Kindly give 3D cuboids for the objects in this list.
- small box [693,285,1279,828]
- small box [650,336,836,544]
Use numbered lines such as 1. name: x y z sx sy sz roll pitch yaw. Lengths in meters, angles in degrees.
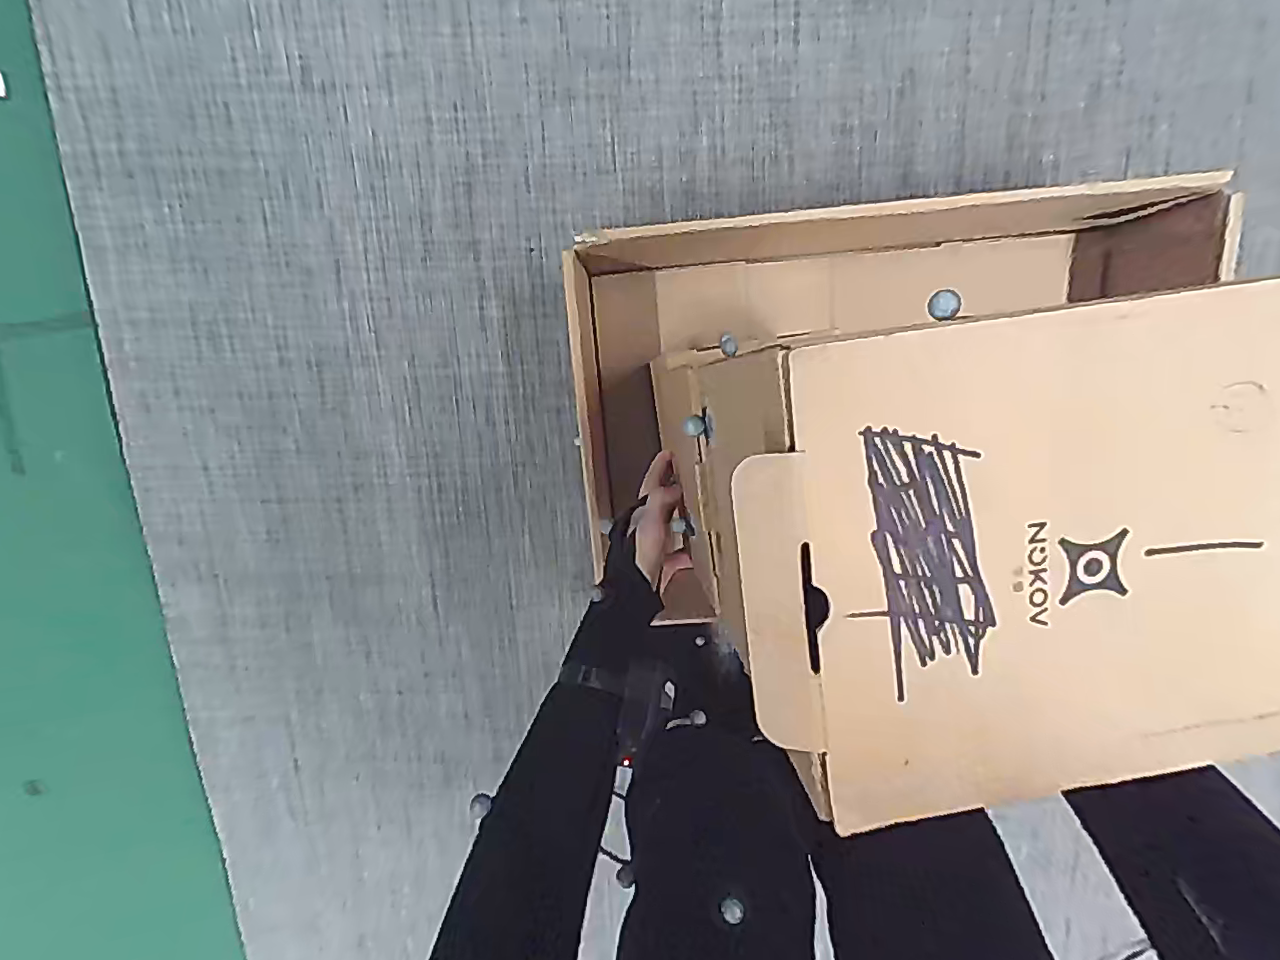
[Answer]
1. small box: 0.125 0.018 0.259 0.179 0.176 0.168 -9 100 -2
2. small box: 0.105 -0.048 0.579 0.168 0.176 0.179 -10 99 -1
